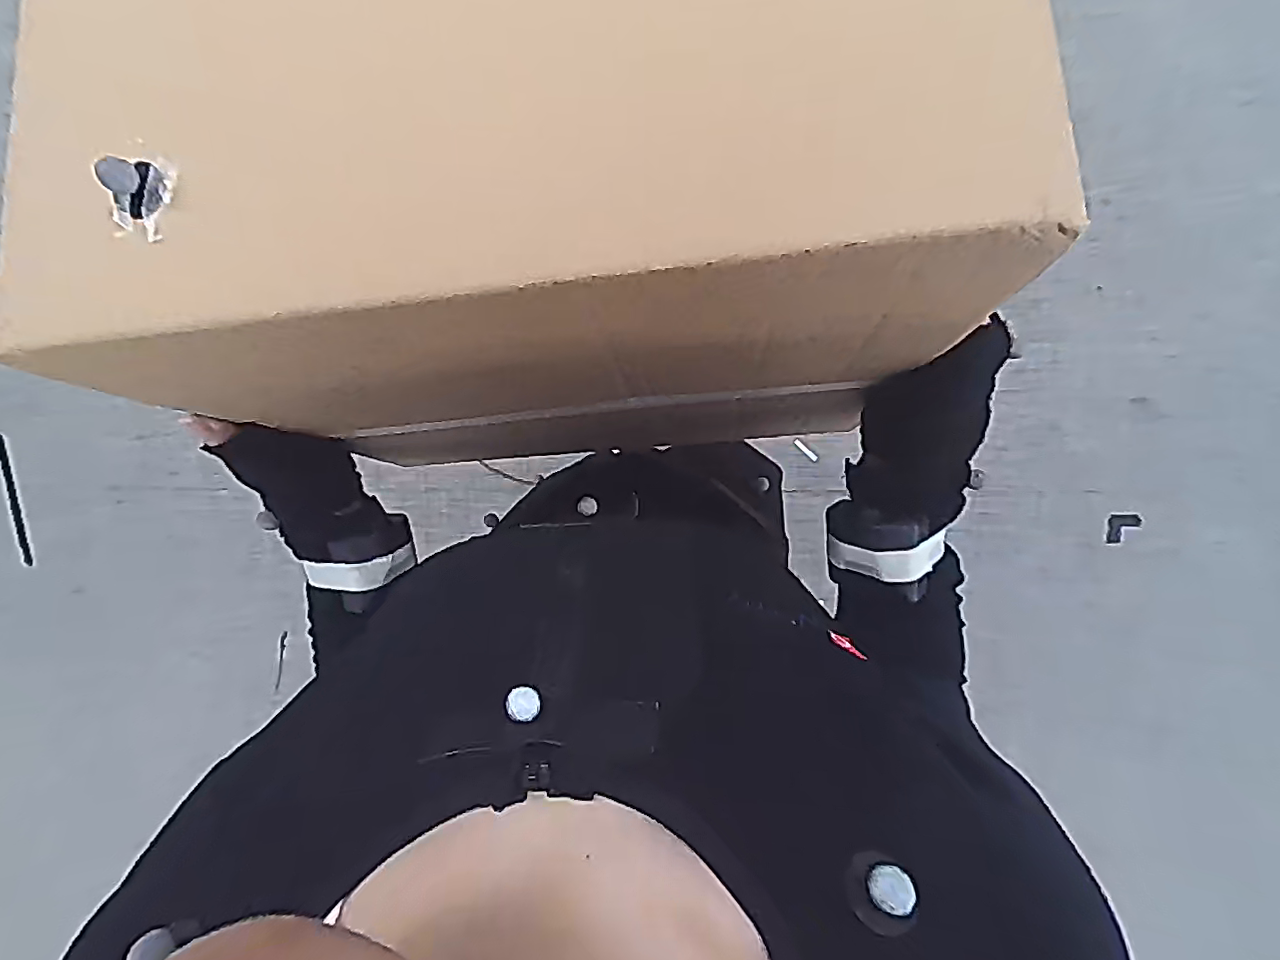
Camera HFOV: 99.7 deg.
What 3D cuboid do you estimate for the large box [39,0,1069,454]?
[{"bbox_3d":[-0.047,-0.207,0.364,0.408,0.320,0.320,-4,84,7],"label":"large box"}]
